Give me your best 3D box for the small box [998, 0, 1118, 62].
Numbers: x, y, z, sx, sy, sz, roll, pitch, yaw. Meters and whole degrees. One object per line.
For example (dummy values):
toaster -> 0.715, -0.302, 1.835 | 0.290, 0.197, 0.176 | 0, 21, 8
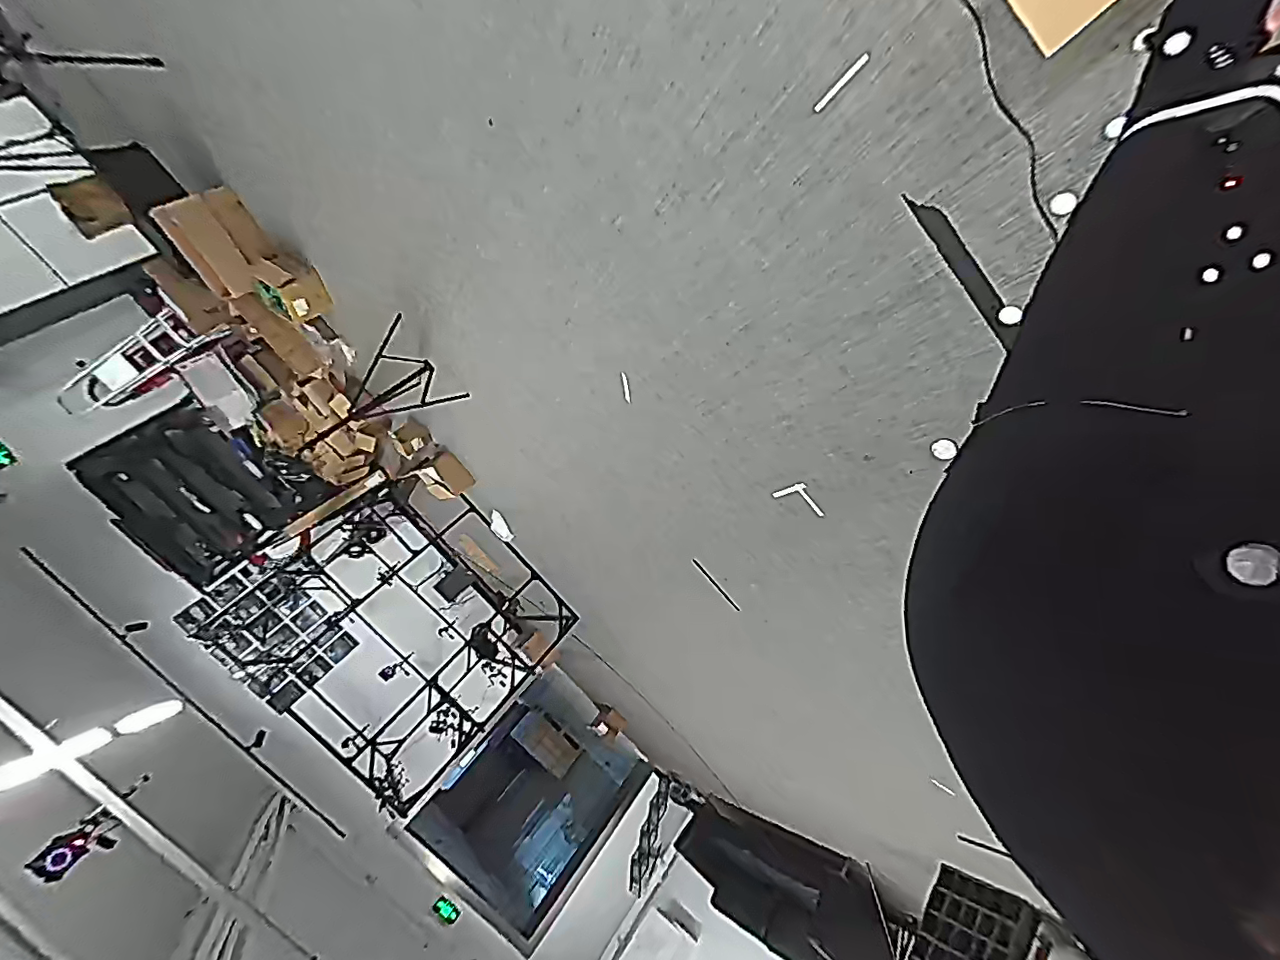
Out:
small box -> 0.552, -0.666, 0.651 | 0.168, 0.176, 0.179 | 49, 151, -7
